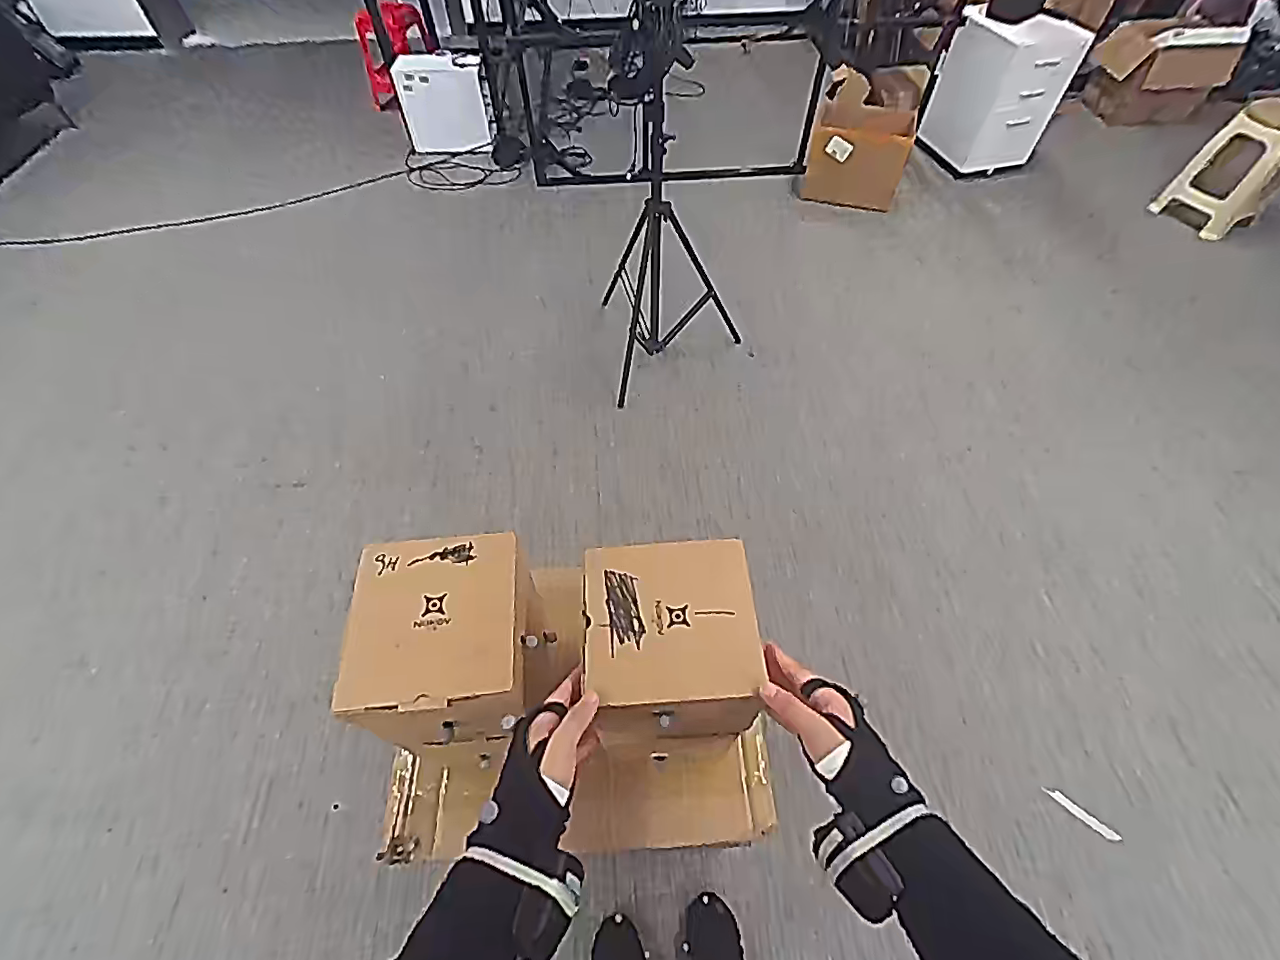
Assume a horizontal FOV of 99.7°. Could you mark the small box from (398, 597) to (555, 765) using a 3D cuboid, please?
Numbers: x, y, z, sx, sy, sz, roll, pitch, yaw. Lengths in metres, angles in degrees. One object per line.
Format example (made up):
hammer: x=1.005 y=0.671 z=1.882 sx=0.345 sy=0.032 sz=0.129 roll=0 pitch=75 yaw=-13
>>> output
small box: x=-0.209 y=0.279 z=0.746 sx=0.168 sy=0.176 sz=0.179 roll=-4 pitch=55 yaw=-3

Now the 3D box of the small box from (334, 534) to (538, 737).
small box: x=-0.210 y=0.182 z=0.612 sx=0.168 sy=0.176 sz=0.179 roll=-5 pitch=56 yaw=-4

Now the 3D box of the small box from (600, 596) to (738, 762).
small box: x=0.034 y=0.277 z=0.747 sx=0.168 sy=0.176 sz=0.179 roll=-4 pitch=56 yaw=0
